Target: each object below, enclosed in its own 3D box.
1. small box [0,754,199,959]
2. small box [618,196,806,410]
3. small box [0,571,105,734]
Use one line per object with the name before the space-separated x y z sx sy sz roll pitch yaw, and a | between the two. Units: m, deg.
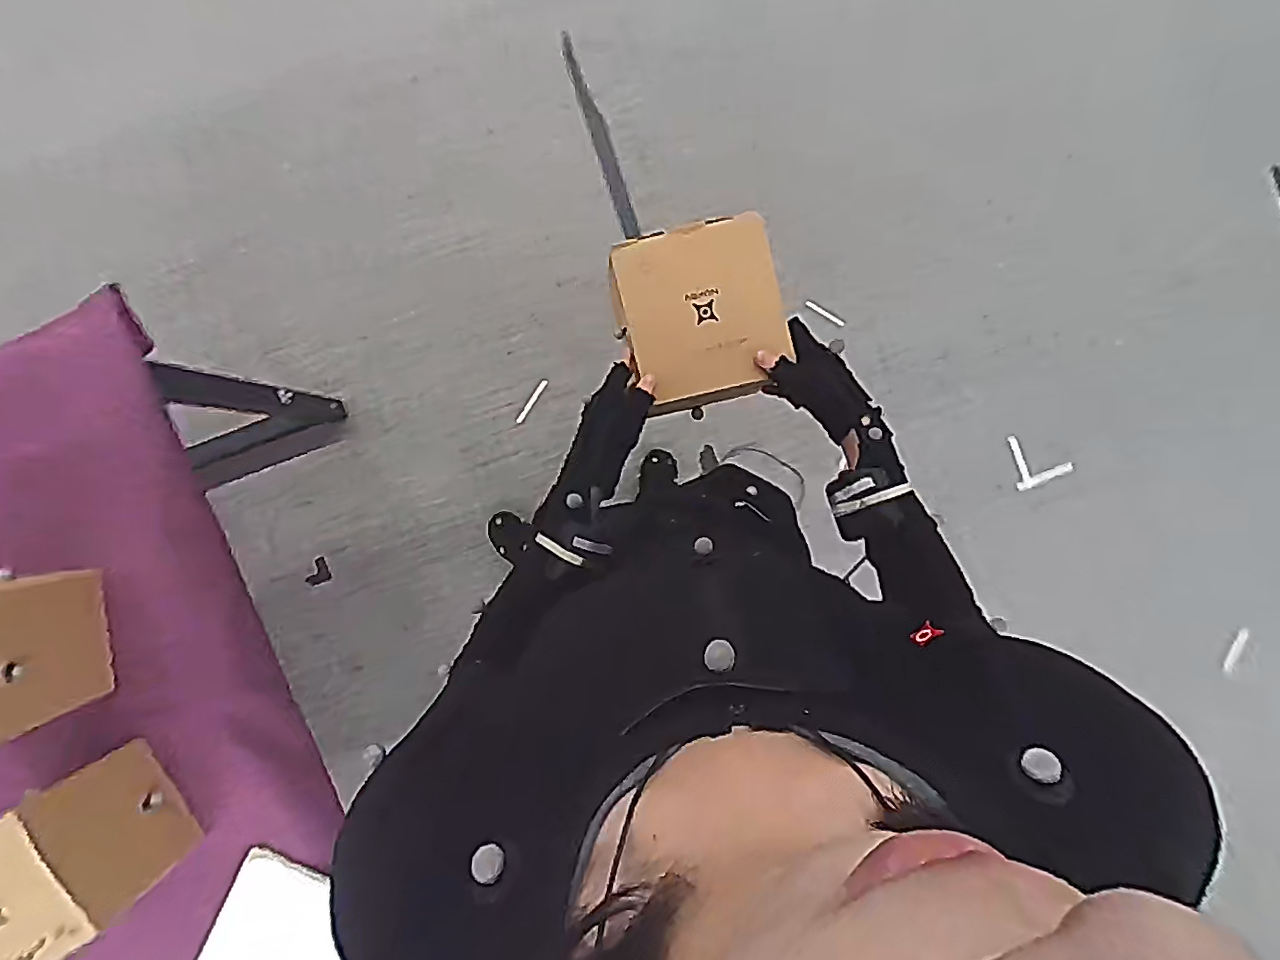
small box | -0.729 0.482 0.683 0.168 0.176 0.179 -32 92 0
small box | 0.070 -0.190 0.631 0.168 0.176 0.179 -14 92 -1
small box | -0.826 0.220 0.671 0.168 0.176 0.179 -5 91 -1
